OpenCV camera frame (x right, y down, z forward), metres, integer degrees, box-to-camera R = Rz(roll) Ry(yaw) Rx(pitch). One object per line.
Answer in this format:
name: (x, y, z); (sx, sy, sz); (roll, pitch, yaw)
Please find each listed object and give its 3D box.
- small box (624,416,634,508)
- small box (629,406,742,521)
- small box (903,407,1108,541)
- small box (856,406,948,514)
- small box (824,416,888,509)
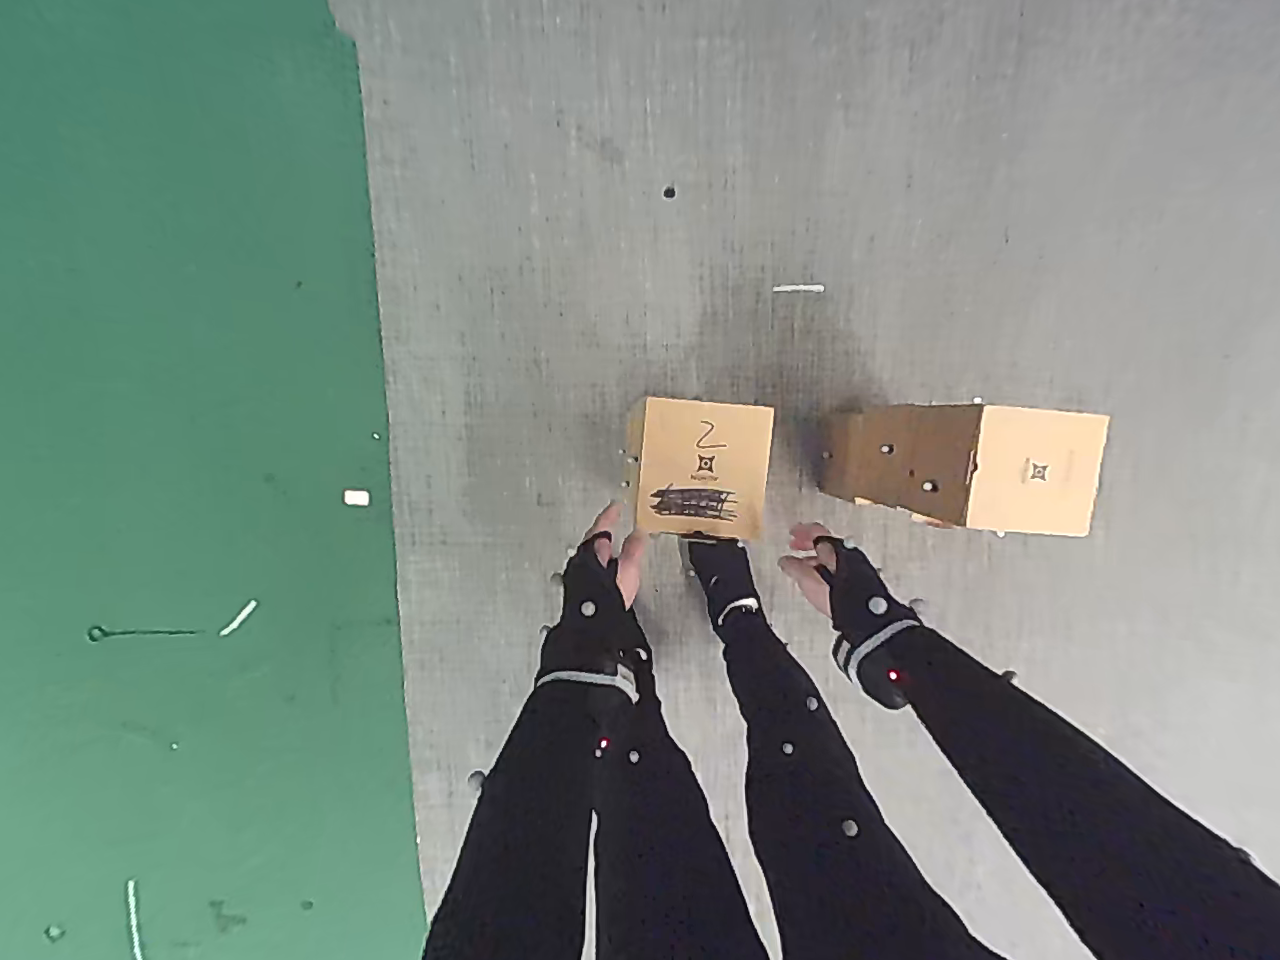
small box: (0.054, -0.039, 1.111); (0.168, 0.176, 0.179); (3, 96, -4)
small box: (0.069, -0.033, 0.933); (0.168, 0.176, 0.179); (3, 97, -4)
small box: (0.516, -0.015, 0.790); (0.179, 0.176, 0.168); (5, 97, -4)
small box: (0.501, -0.033, 0.953); (0.168, 0.176, 0.179); (5, 96, -2)
small box: (0.493, -0.041, 1.116); (0.168, 0.176, 0.179); (0, 97, -4)
